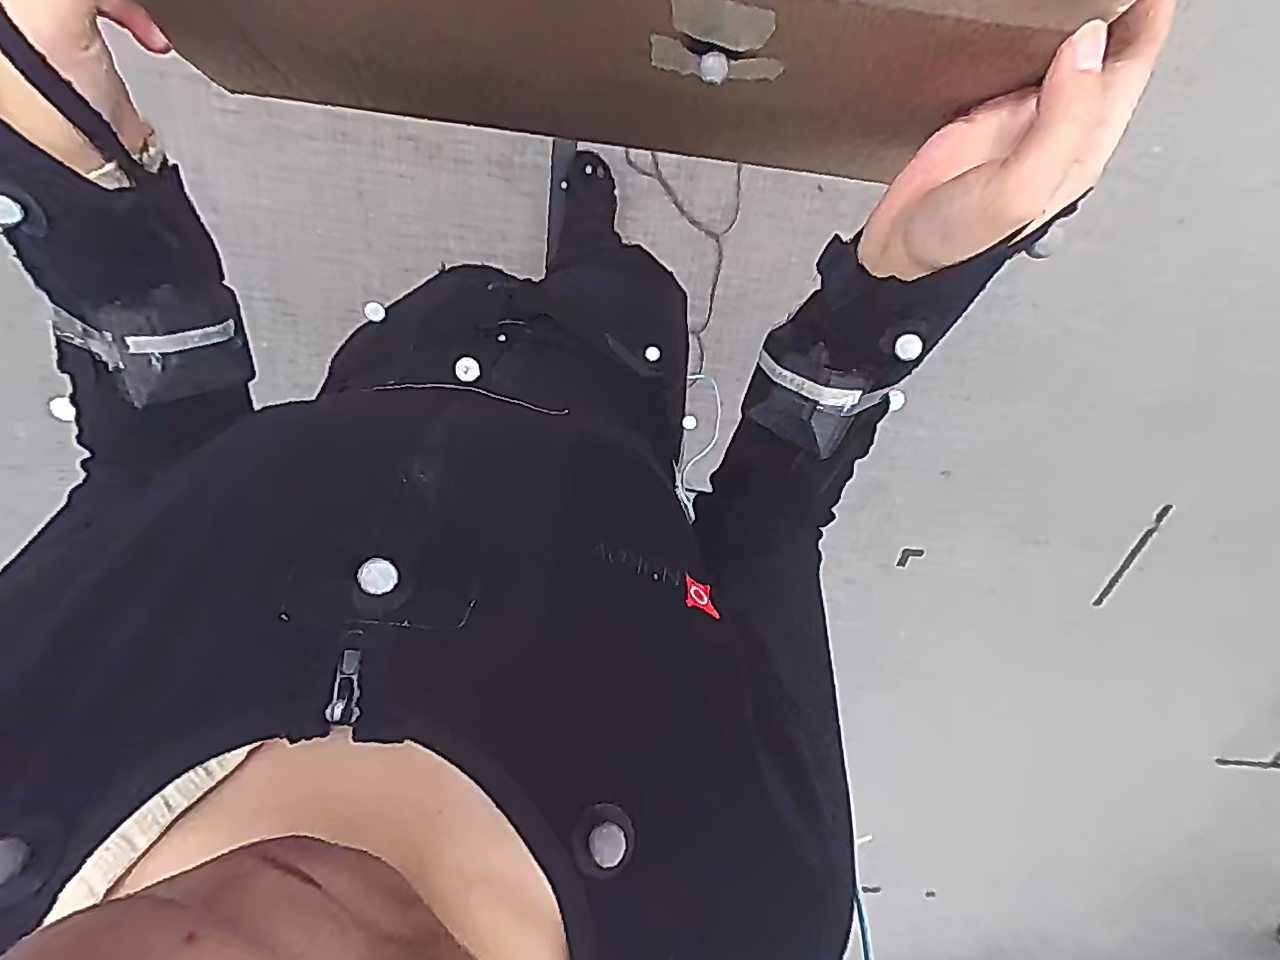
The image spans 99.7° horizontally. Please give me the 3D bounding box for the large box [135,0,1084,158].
[{"bbox_3d":[-0.018,-0.343,0.157,0.408,0.320,0.320,5,99,-3],"label":"large box"}]
